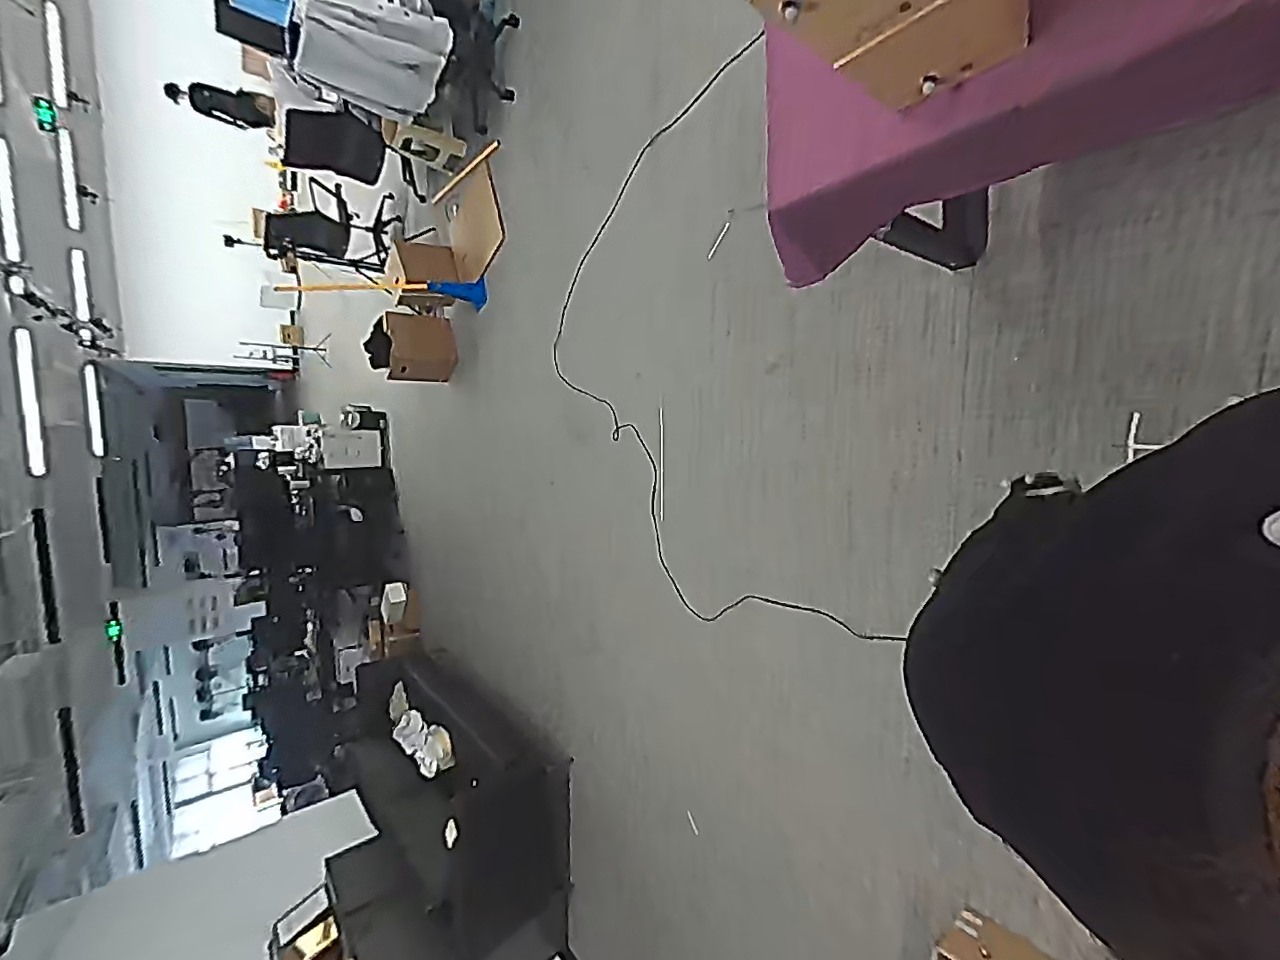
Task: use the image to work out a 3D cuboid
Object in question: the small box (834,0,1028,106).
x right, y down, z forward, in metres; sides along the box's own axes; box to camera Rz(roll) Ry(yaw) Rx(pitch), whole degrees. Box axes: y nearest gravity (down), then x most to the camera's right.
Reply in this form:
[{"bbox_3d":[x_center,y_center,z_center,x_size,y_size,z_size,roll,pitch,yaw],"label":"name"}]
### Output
[{"bbox_3d":[0.362,-0.616,0.671,0.168,0.176,0.179,6,99,51],"label":"small box"}]
